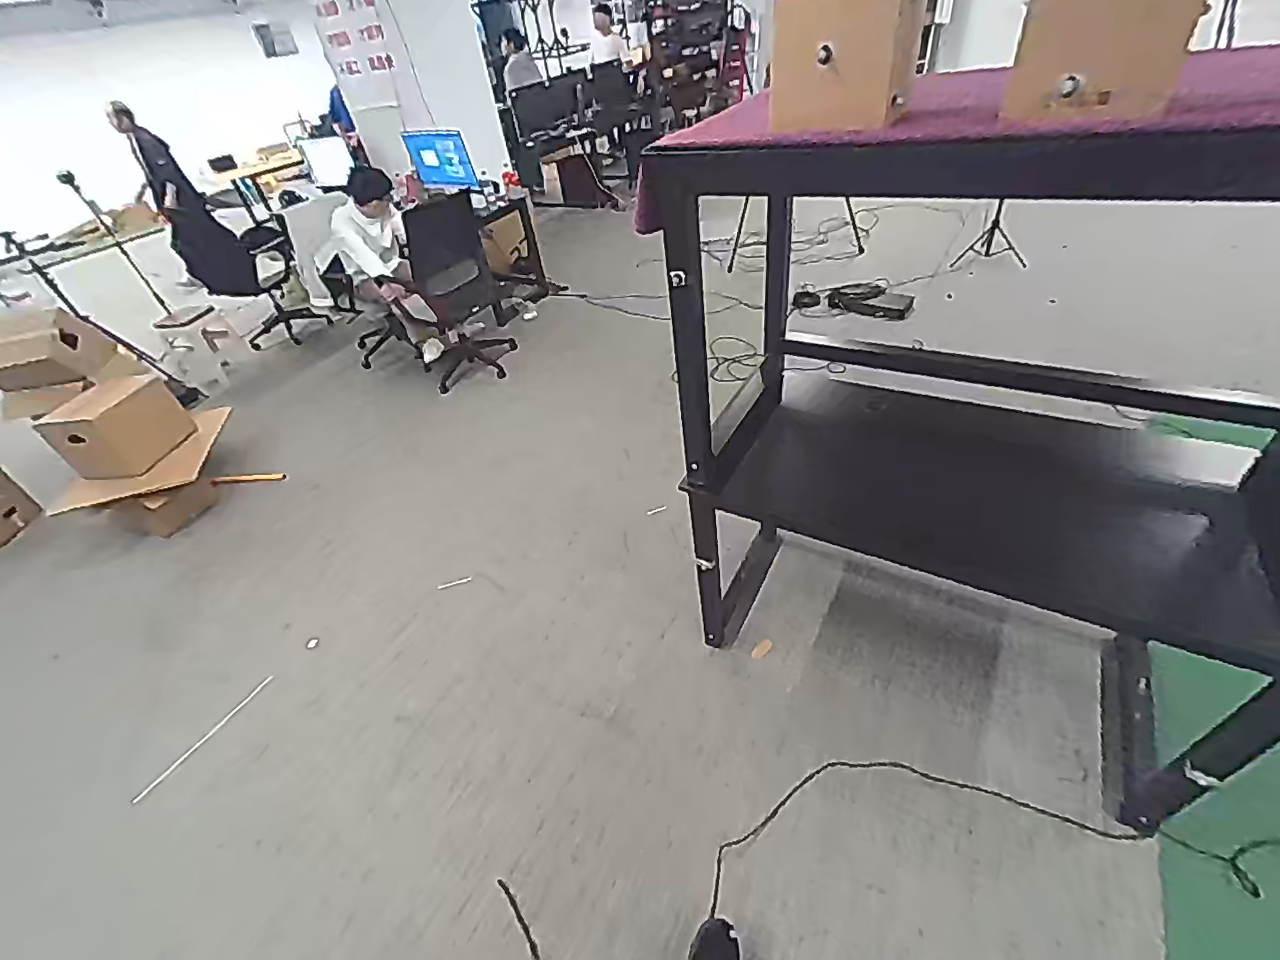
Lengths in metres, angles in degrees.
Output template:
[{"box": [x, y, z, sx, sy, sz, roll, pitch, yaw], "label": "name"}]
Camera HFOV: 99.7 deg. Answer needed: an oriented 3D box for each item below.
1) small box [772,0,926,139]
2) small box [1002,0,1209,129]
[{"box": [0.310, -0.626, 0.807, 0.179, 0.176, 0.168, 16, 46, 29], "label": "small box"}, {"box": [0.568, -0.544, 0.661, 0.168, 0.176, 0.179, 18, 48, 31], "label": "small box"}]
